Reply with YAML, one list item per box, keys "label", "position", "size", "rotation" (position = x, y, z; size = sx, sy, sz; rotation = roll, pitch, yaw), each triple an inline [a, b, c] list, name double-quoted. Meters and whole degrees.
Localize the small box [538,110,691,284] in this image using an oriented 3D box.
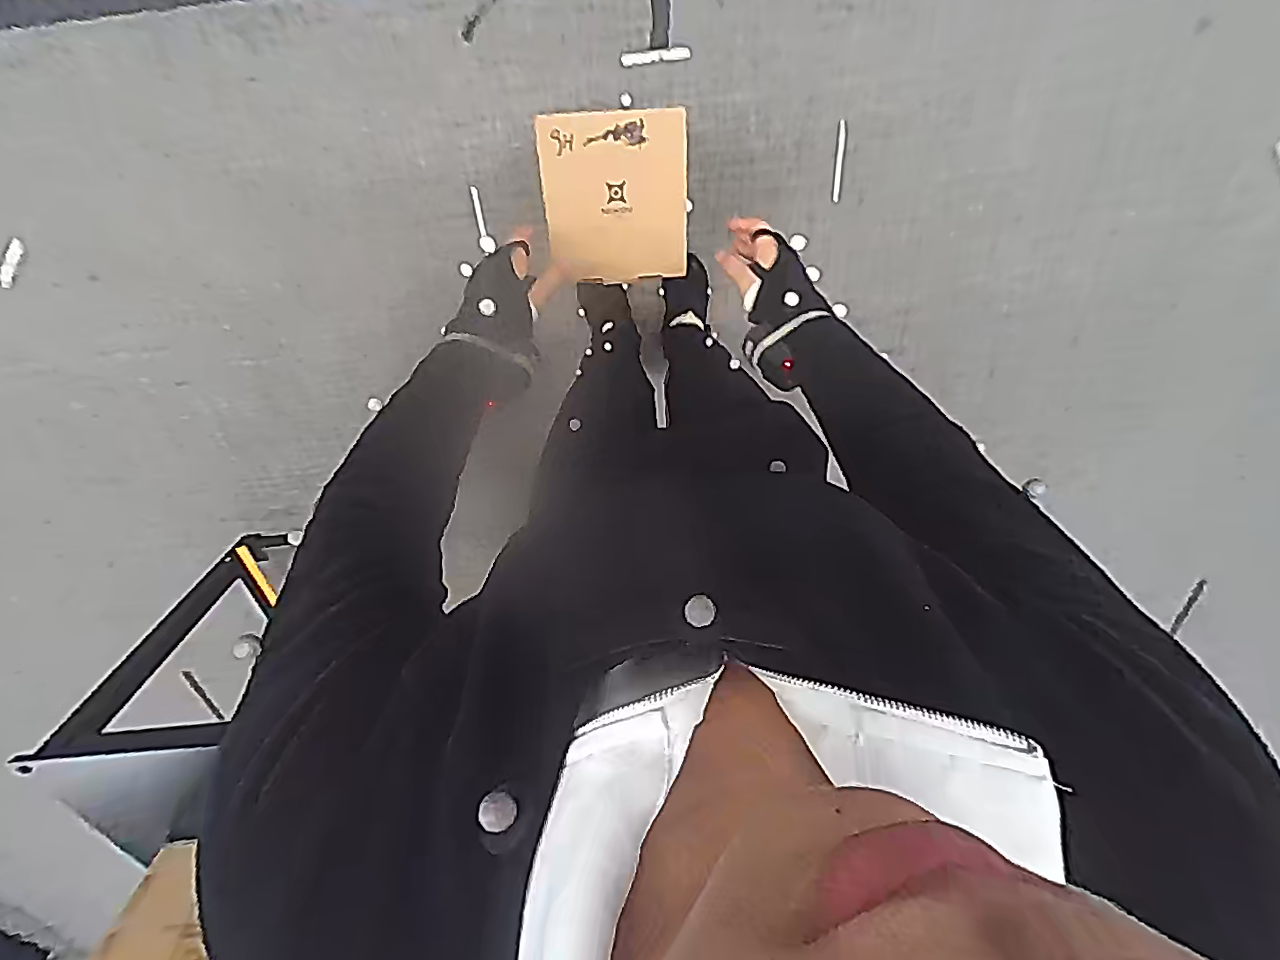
- label: "small box"
  position: [-0.026, -0.360, 0.684]
  size: [0.168, 0.176, 0.179]
  rotation: [-3, 123, 0]
